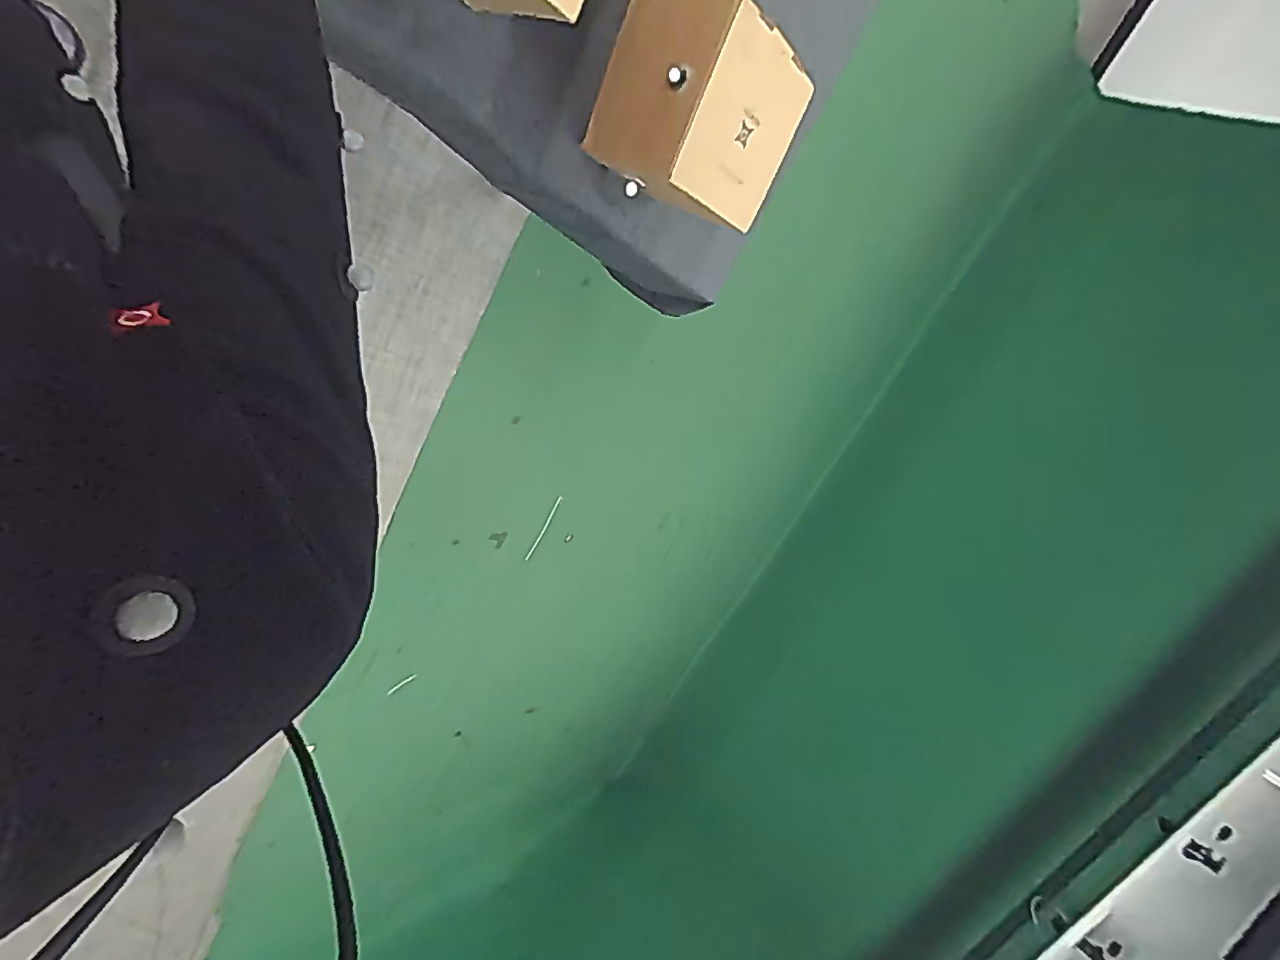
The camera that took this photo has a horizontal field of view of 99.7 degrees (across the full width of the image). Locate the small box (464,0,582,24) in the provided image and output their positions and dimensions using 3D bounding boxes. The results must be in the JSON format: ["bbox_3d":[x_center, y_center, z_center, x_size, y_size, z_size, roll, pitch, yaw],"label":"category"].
[{"bbox_3d":[-0.121,-0.477,0.383,0.168,0.176,0.179,1,121,-51],"label":"small box"}]

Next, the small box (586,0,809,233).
[{"bbox_3d":[0.062,-0.434,0.650,0.168,0.176,0.179,0,123,-49],"label":"small box"}]
